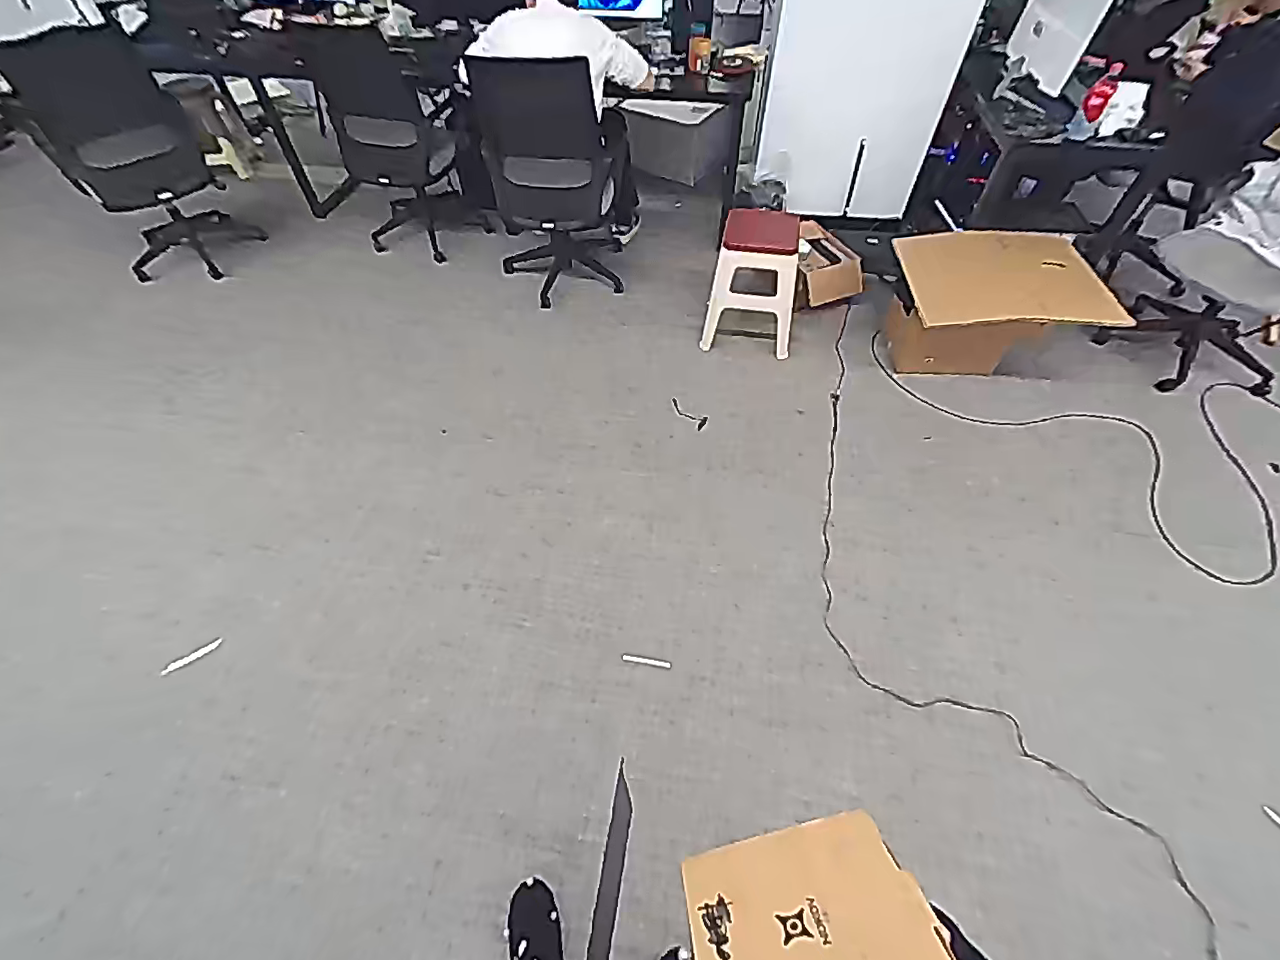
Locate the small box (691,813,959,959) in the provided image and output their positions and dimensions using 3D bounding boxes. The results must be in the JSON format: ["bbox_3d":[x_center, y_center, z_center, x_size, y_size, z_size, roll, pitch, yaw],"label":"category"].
[{"bbox_3d":[0.151,0.417,0.430,0.179,0.176,0.168,-14,10,0],"label":"small box"}]
